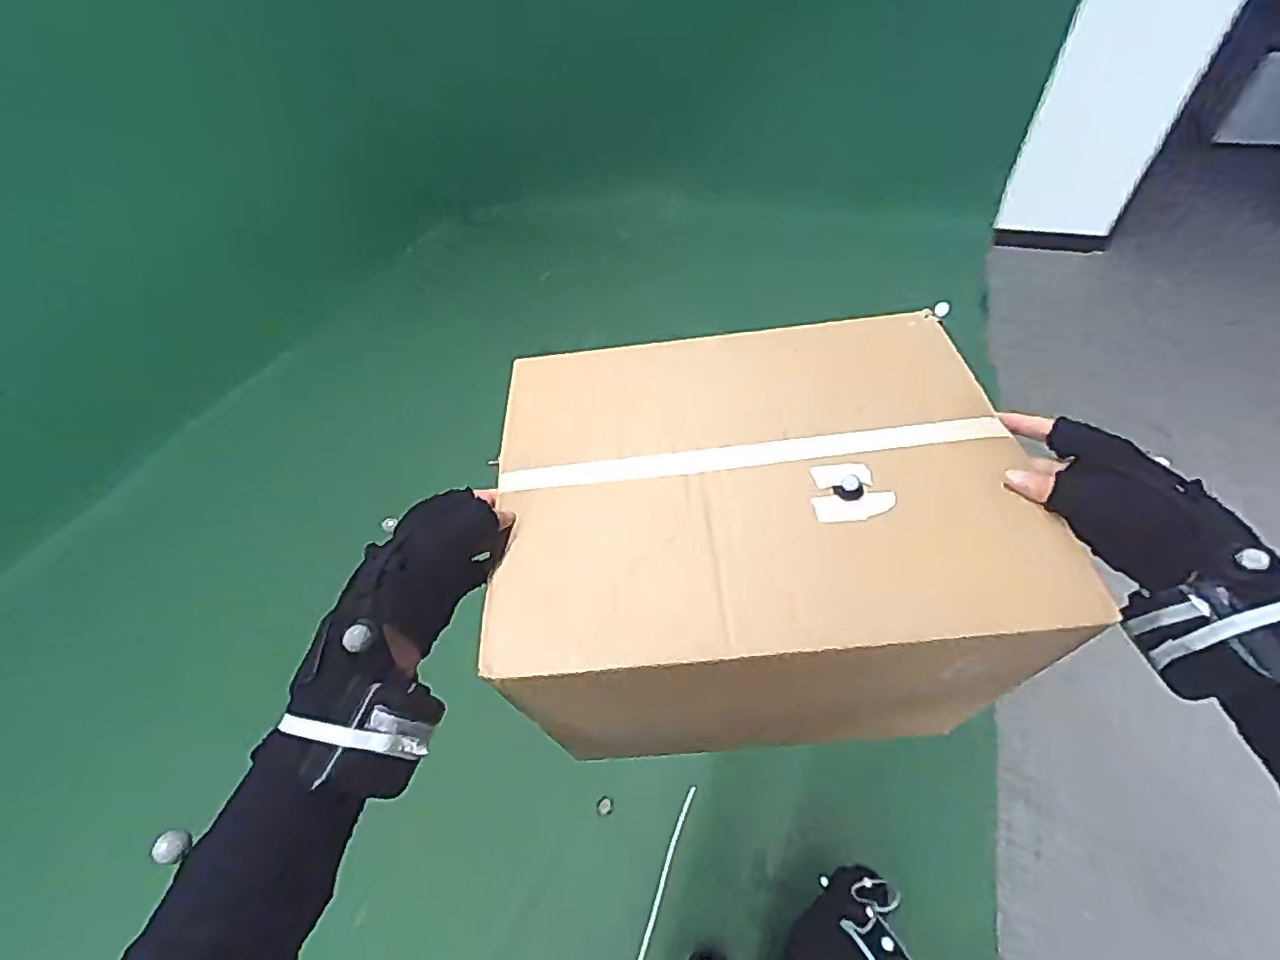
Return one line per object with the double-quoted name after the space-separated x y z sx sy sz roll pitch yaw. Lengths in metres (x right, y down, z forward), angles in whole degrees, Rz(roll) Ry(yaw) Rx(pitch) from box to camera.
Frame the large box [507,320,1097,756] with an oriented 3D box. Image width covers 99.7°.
0.109 0.076 0.566 0.408 0.320 0.320 -7 54 3 "large box"
